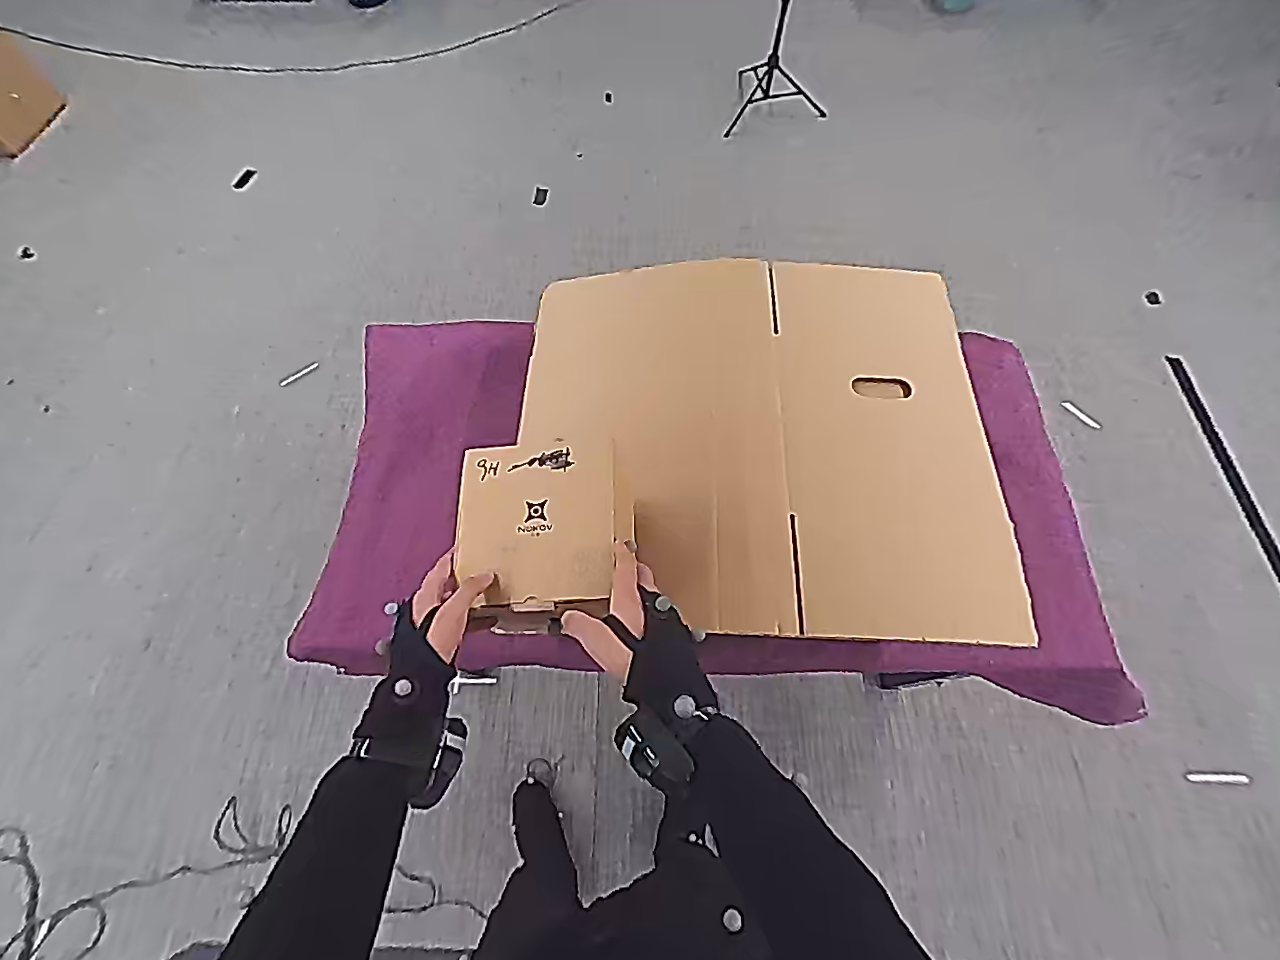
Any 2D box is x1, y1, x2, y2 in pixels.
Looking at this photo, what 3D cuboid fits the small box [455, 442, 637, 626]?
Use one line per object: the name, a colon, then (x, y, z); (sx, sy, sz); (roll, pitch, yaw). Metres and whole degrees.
small box: (-0.095, 0.074, 0.629); (0.168, 0.176, 0.179); (-4, 67, 5)
